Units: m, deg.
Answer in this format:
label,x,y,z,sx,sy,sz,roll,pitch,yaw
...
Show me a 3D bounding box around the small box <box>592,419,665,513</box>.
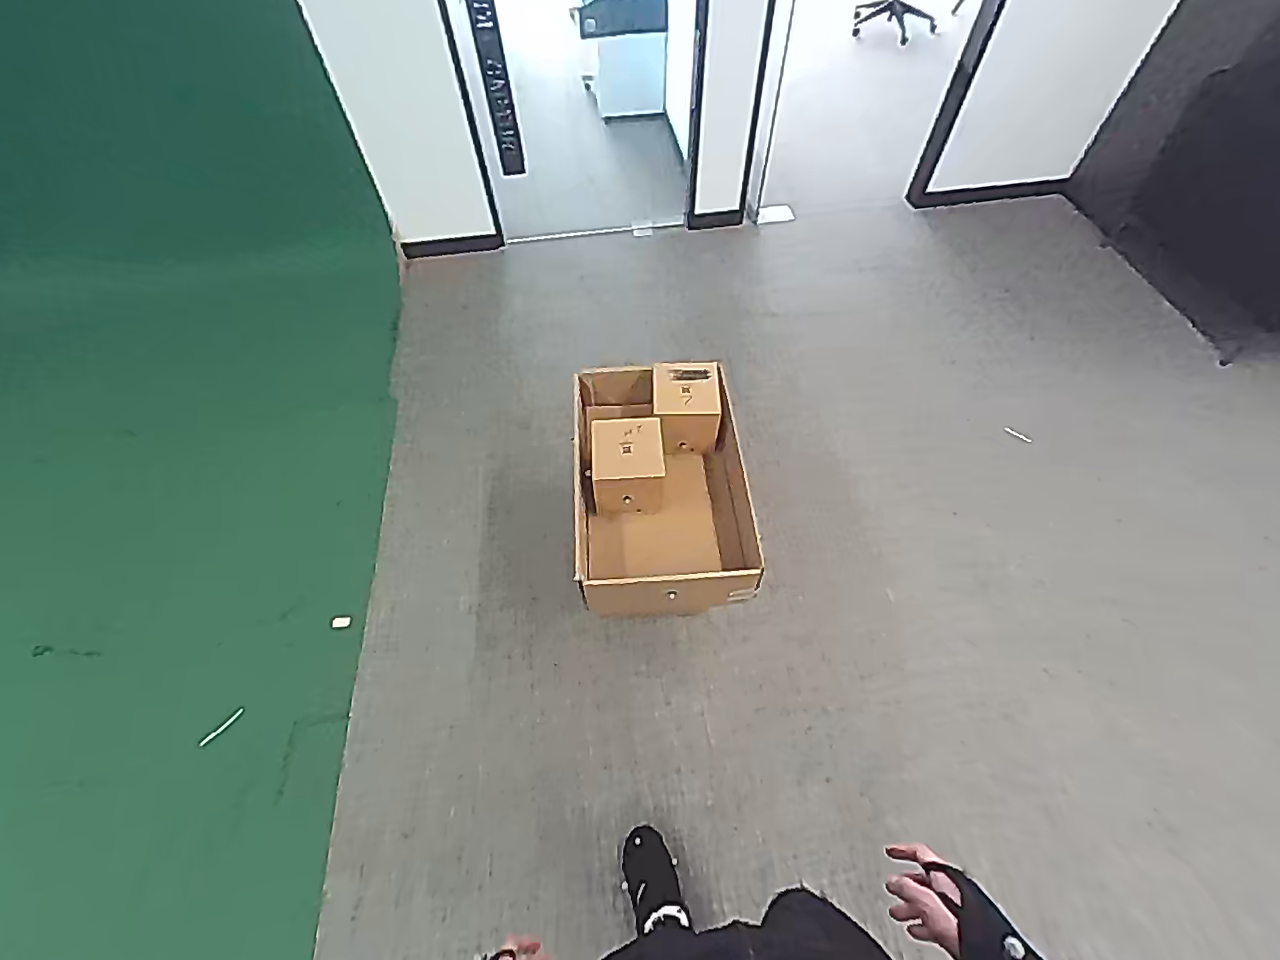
label,x,y,z,sx,sy,sz,roll,pitch,yaw
small box,-0.028,-0.028,1.310,0.168,0.176,0.179,-2,56,-2
